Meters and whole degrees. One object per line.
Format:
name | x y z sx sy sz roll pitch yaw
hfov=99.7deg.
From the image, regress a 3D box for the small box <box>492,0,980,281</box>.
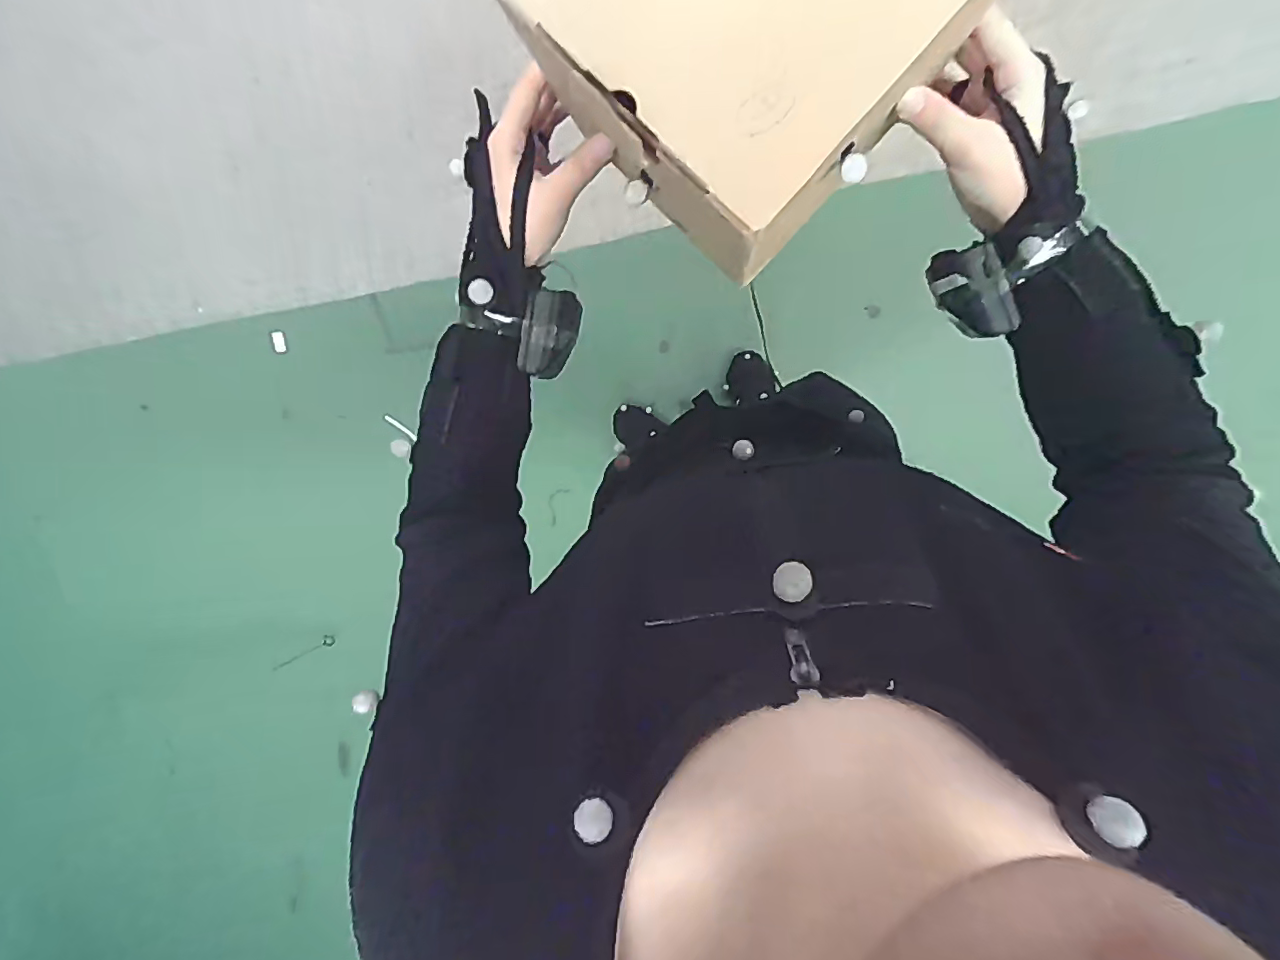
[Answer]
small box | 0.060 -0.237 0.301 0.168 0.176 0.179 43 106 -2
